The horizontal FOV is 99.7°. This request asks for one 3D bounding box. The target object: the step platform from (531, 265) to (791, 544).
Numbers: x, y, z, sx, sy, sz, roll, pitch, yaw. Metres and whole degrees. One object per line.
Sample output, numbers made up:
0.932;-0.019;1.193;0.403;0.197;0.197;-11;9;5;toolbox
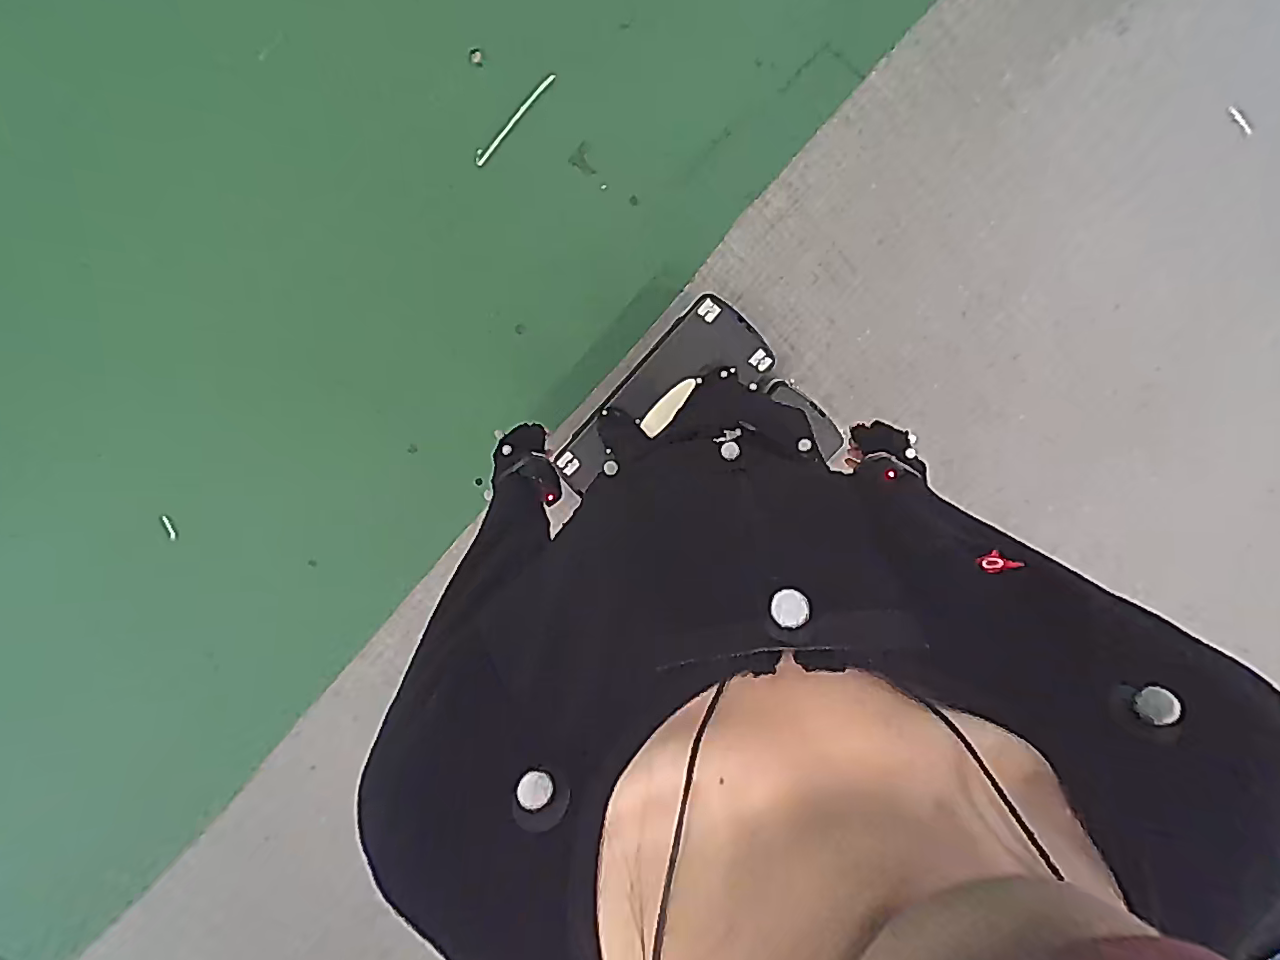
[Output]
0.041;-0.180;1.350;0.286;0.204;0.684;41;97;-9;step platform
